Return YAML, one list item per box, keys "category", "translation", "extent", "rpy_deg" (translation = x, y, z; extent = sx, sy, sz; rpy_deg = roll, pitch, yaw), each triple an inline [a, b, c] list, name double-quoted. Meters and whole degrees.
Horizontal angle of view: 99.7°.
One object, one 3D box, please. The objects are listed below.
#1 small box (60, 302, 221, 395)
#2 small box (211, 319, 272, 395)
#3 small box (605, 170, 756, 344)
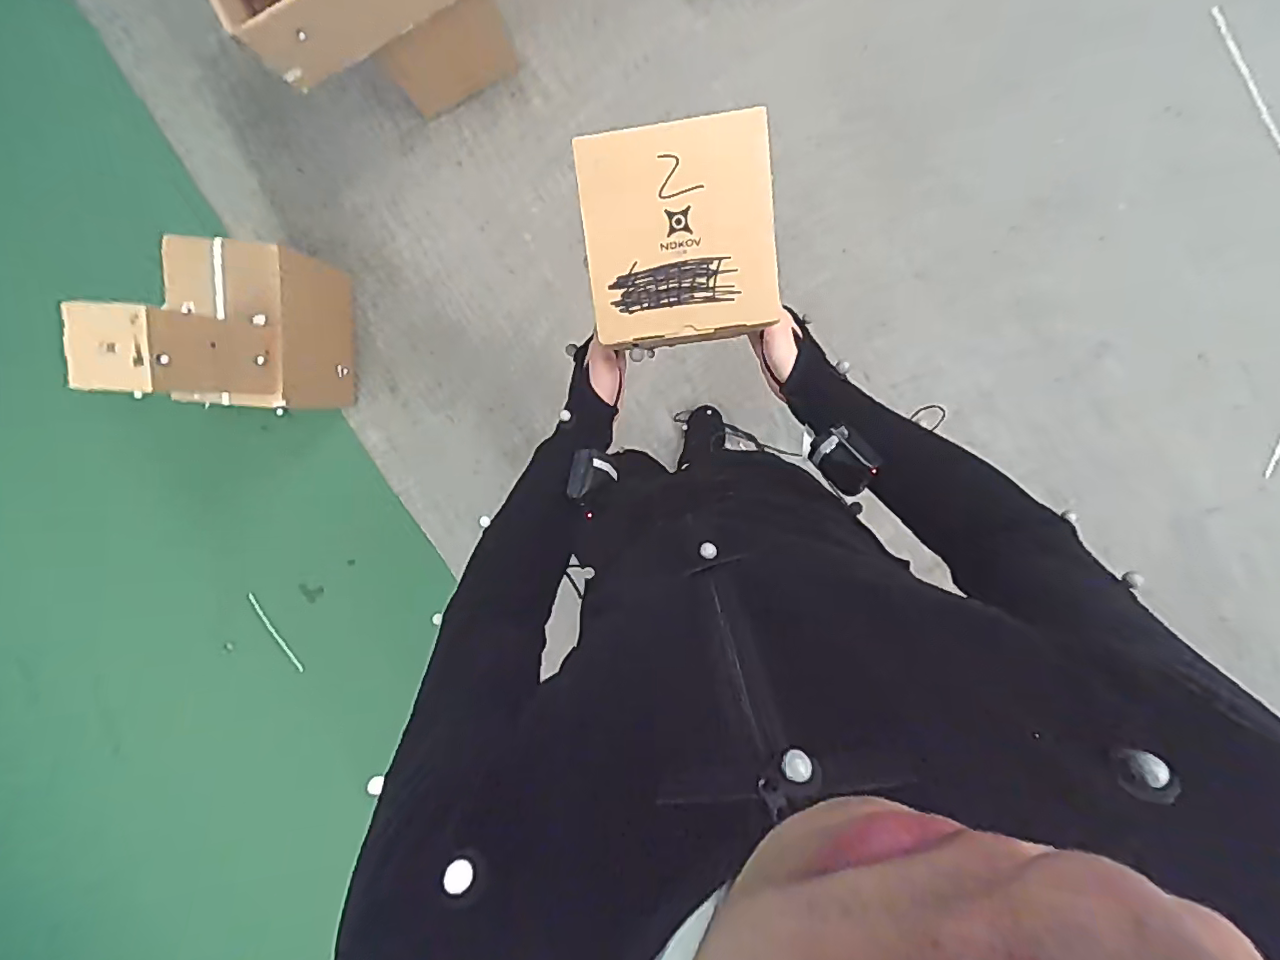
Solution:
- category: "small box"
  translation: [-1.012, -0.263, 1.108]
  extent: [0.179, 0.176, 0.168]
  rpy_deg: [3, 99, 4]
- category: "small box"
  translation: [-1.010, -0.288, 1.271]
  extent: [0.179, 0.176, 0.168]
  rpy_deg: [4, 99, 3]
- category: "small box"
  translation: [0.055, -0.273, 0.704]
  extent: [0.168, 0.176, 0.179]
  rpy_deg: [-6, 101, 5]
